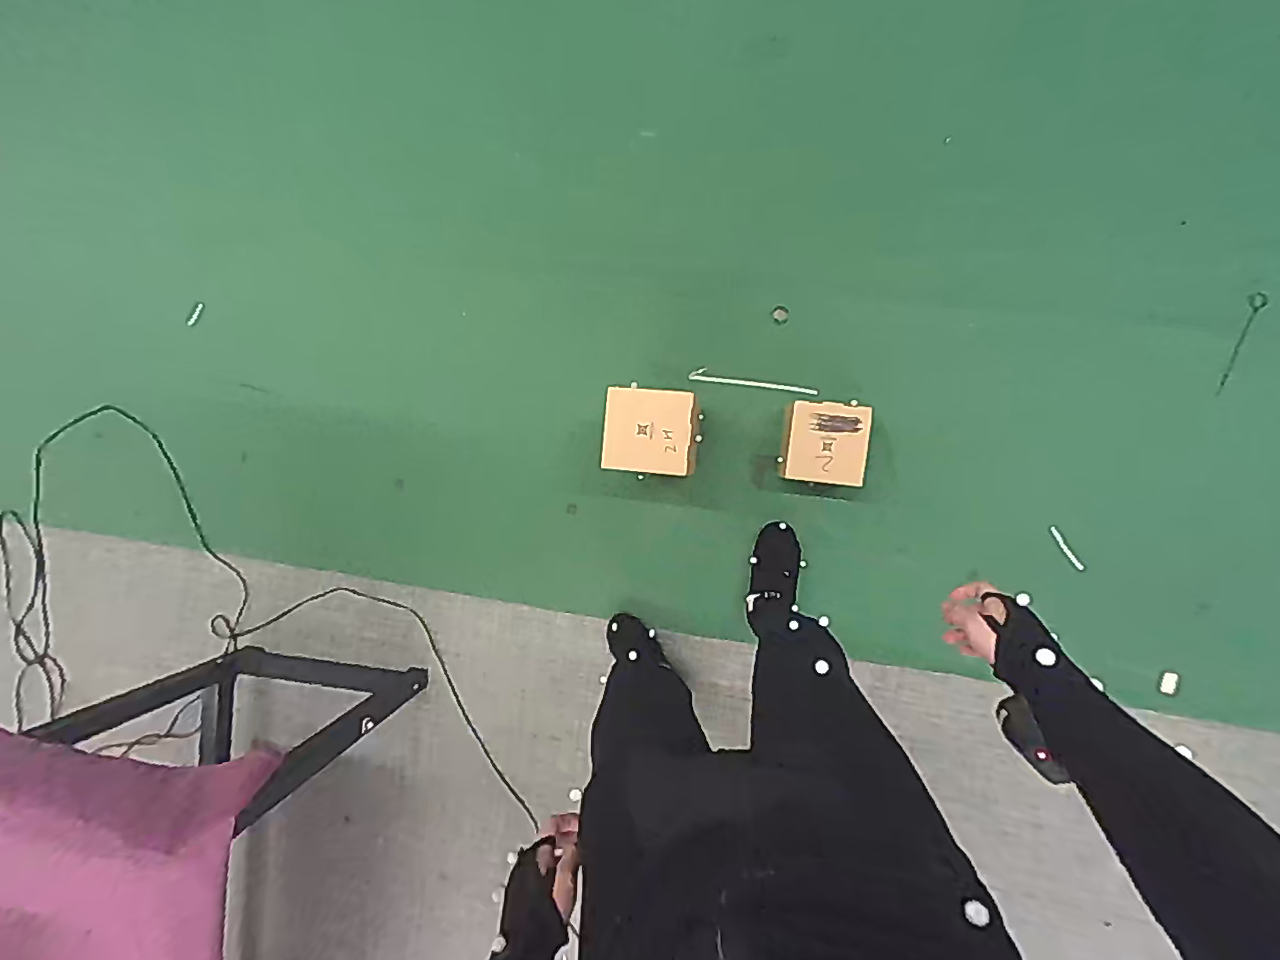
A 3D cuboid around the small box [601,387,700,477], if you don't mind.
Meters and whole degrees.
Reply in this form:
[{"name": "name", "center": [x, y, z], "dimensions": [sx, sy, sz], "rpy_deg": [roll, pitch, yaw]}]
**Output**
[{"name": "small box", "center": [0.028, -0.096, 1.144], "dimensions": [0.179, 0.176, 0.168], "rpy_deg": [6, 92, 9]}]
